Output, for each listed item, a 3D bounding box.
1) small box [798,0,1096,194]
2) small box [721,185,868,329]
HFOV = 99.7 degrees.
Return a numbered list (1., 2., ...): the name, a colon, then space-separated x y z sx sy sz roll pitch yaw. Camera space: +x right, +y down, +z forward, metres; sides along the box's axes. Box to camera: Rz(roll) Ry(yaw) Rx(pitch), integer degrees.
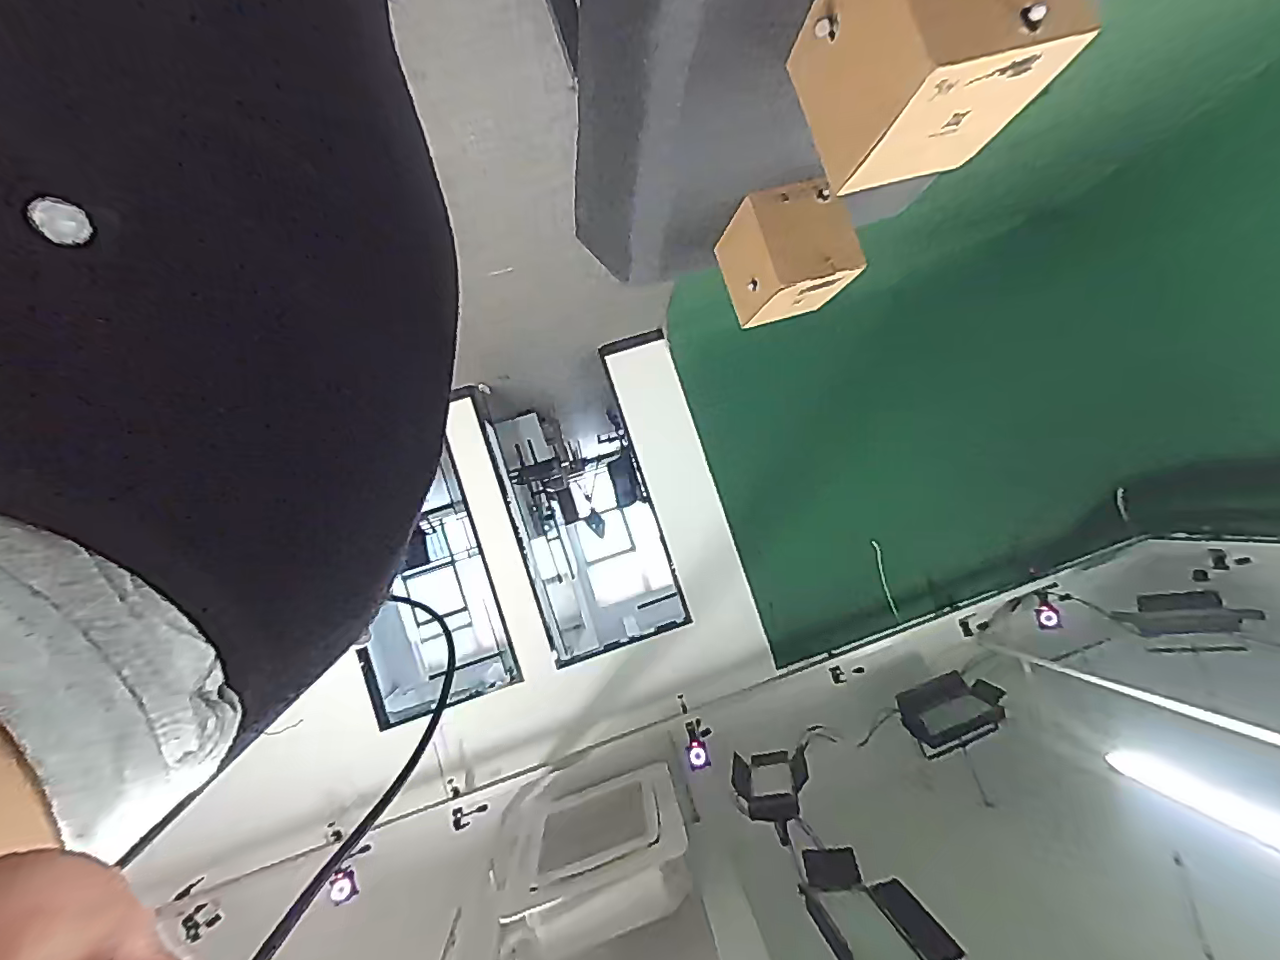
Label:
1. small box: 0.276 -0.425 0.529 0.168 0.176 0.179 -19 178 -7
2. small box: 0.261 -0.397 0.960 0.168 0.176 0.179 -18 178 -11
